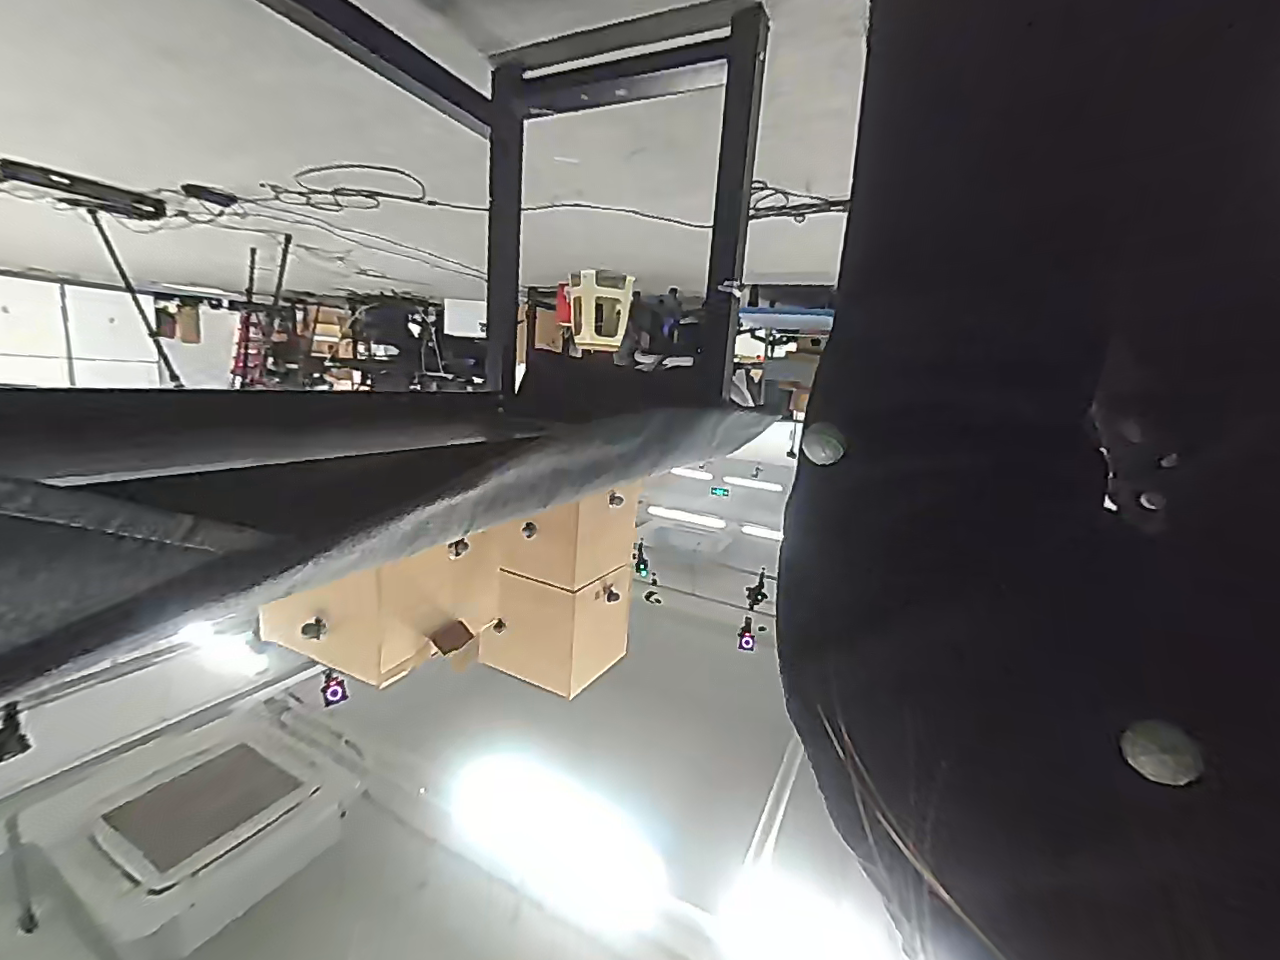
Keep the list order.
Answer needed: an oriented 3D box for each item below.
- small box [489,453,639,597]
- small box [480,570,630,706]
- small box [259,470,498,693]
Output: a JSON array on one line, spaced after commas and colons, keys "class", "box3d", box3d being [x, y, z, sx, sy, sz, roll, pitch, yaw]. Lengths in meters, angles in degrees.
[{"class": "small box", "box3d": [-0.116, 0.055, 0.822, 0.179, 0.176, 0.168, 10, -168, 27]}, {"class": "small box", "box3d": [-0.129, 0.214, 0.851, 0.179, 0.176, 0.168, 10, -167, 28]}, {"class": "small box", "box3d": [-0.267, 0.087, 0.572, 0.179, 0.176, 0.168, 9, -169, 24]}]
